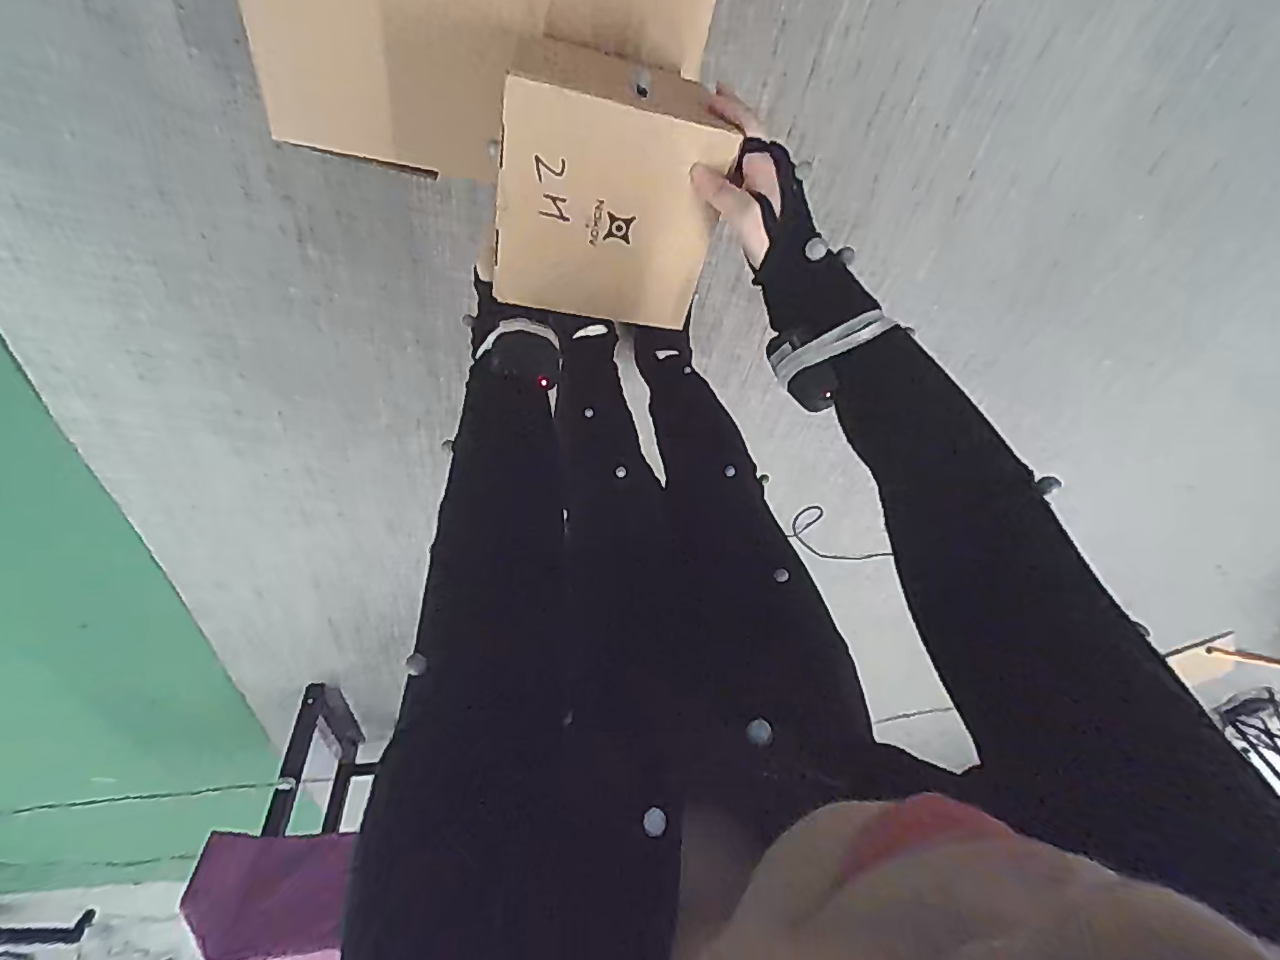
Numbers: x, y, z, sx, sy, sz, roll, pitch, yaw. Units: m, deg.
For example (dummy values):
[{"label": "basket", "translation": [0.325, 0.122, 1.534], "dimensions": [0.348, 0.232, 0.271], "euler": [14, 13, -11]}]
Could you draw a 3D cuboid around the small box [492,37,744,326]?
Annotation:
[{"label": "small box", "translation": [-0.033, -0.267, 0.487], "dimensions": [0.179, 0.176, 0.168], "euler": [6, 135, -14]}]
